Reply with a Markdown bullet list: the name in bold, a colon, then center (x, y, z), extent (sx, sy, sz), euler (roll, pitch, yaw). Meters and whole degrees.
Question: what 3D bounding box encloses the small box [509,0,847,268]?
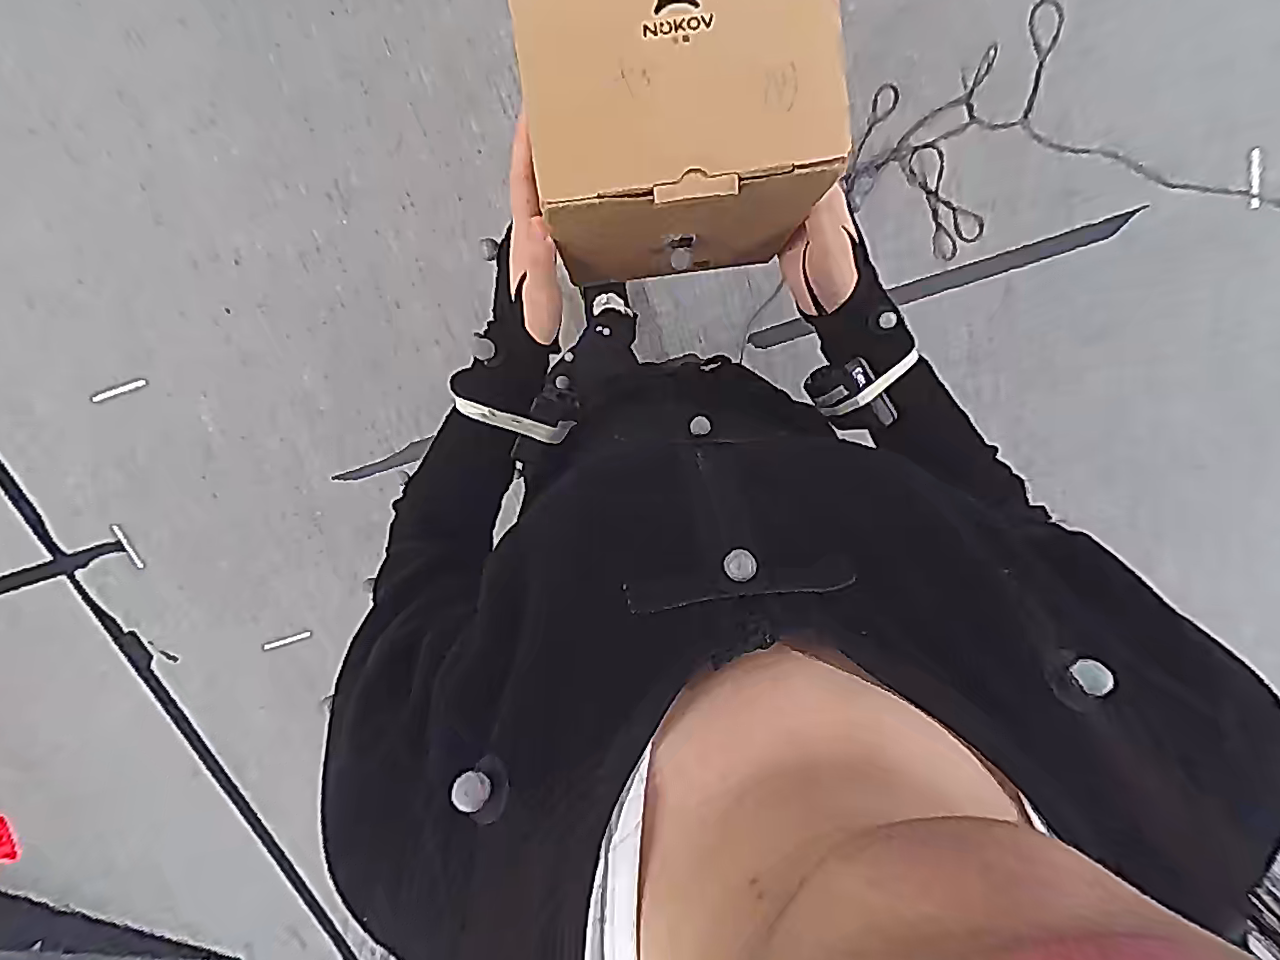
- **small box**: center (0.017, -0.248, 0.349), extent (0.168, 0.176, 0.179), euler (-8, 97, 0)
